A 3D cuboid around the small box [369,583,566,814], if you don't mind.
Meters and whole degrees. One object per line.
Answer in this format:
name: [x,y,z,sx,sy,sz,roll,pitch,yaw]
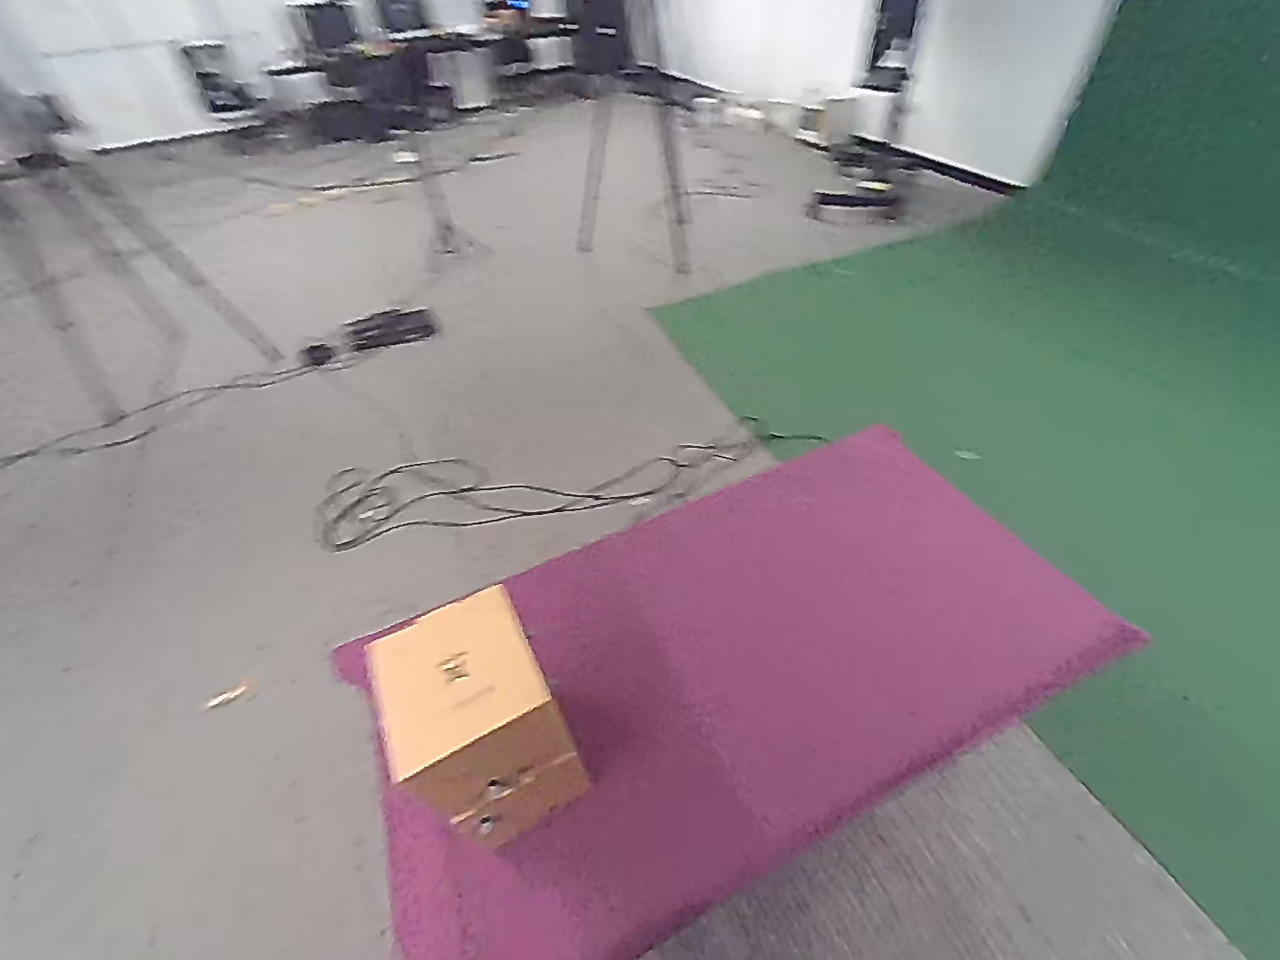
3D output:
small box: [-0.206,0.267,0.665,0.168,0.176,0.179,-24,49,-17]
